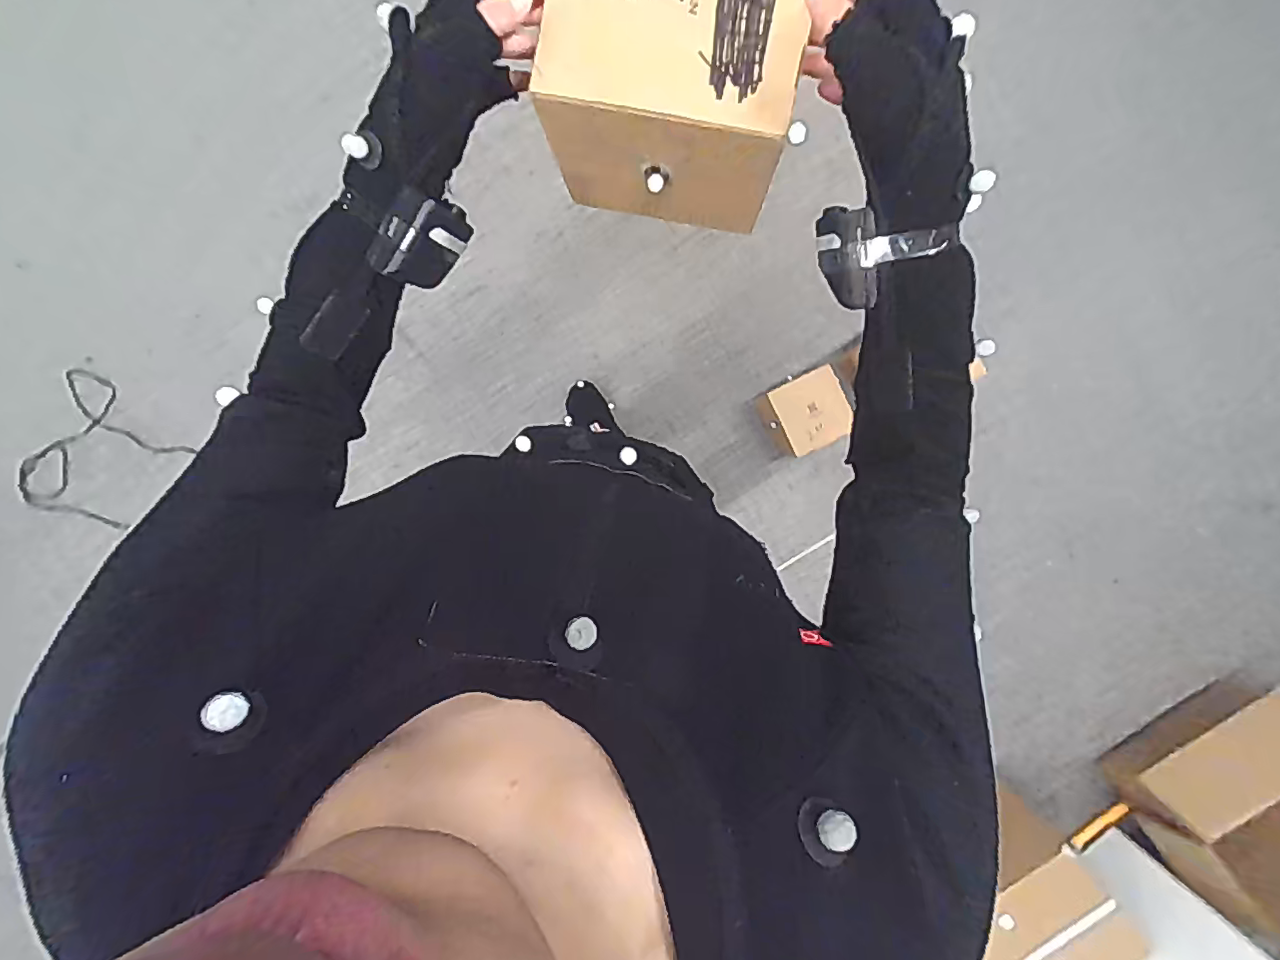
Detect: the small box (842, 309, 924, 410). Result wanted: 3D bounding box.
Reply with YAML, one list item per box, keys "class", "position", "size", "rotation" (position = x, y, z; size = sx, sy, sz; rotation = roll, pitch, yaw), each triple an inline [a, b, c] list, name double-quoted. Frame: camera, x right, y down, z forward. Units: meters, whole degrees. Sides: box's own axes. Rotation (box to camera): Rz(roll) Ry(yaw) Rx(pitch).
- class: "small box"
  position: [0.639, -0.290, 1.349]
  size: [0.168, 0.176, 0.179]
  rotation: [-36, 92, 4]

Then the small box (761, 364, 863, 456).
- class: "small box"
  position: [0.423, -0.169, 1.363]
  size: [0.168, 0.176, 0.179]
  rotation: [-26, 92, 4]

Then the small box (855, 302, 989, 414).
- class: "small box"
  position: [0.609, -0.257, 1.188]
  size: [0.168, 0.176, 0.179]
  rotation: [-30, 92, 4]
